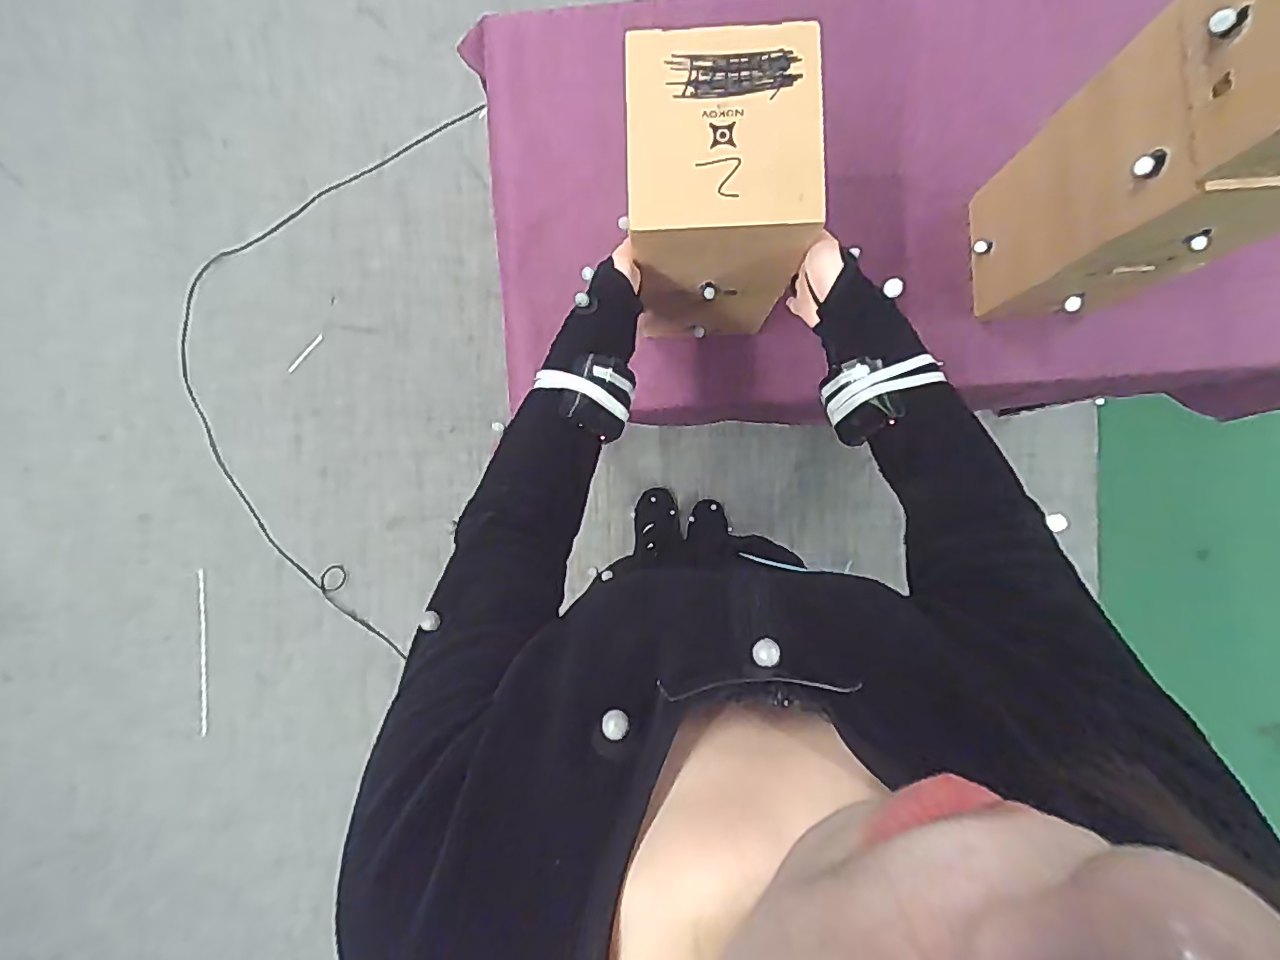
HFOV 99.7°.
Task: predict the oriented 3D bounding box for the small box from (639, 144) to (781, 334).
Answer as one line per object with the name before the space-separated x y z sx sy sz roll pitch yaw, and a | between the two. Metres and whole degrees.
small box | 0.082 -0.301 0.704 0.168 0.176 0.179 -1 90 2

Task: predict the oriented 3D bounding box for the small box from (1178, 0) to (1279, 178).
small box | 0.528 -0.330 0.360 0.179 0.176 0.168 -3 88 3

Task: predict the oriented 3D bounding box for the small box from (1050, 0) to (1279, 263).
small box | 0.539 -0.324 0.523 0.168 0.176 0.179 -3 89 2

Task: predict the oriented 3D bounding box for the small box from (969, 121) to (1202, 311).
small box | 0.548 -0.323 0.688 0.168 0.176 0.179 -2 90 2
